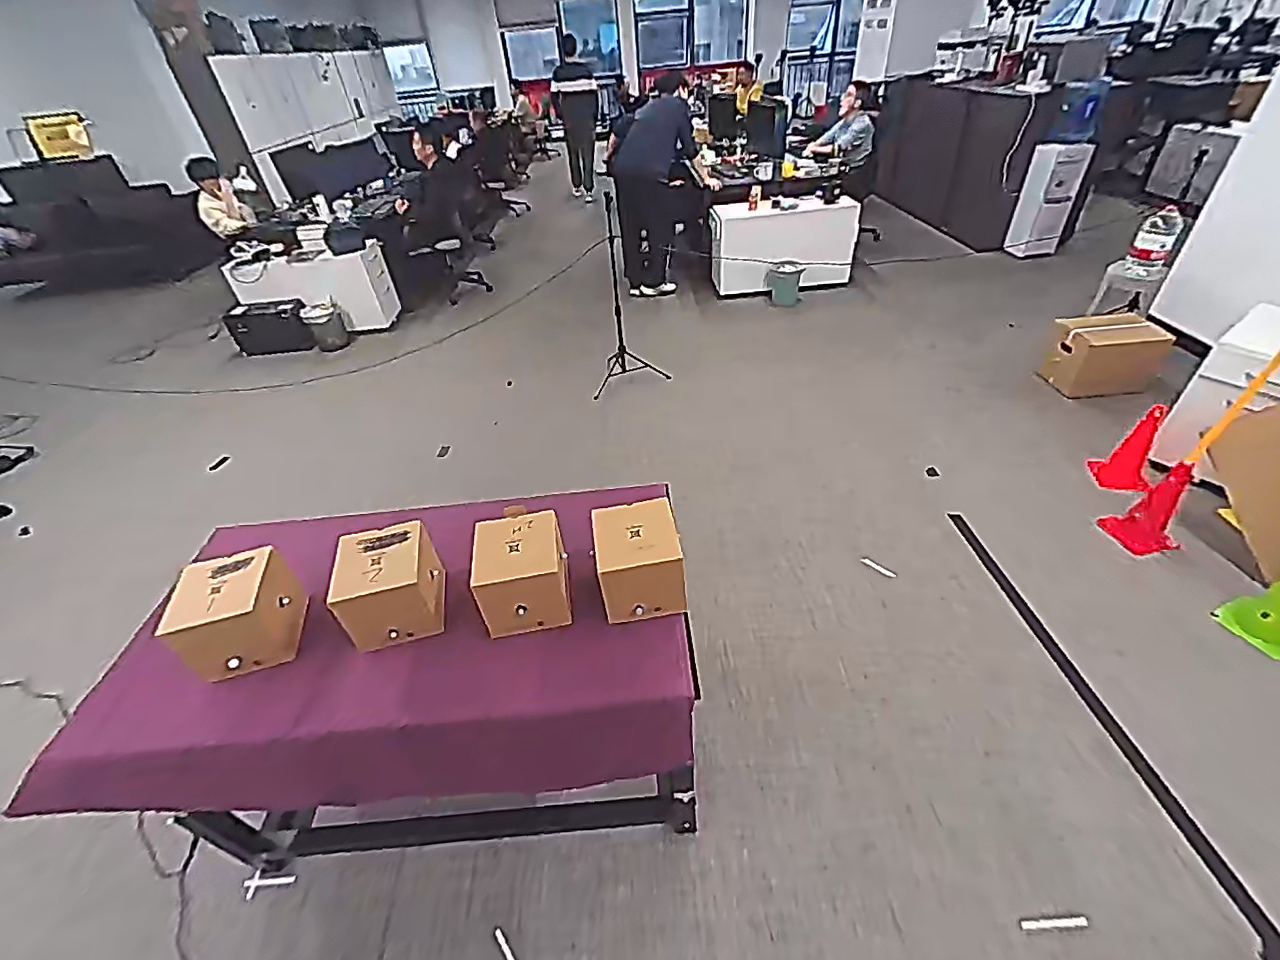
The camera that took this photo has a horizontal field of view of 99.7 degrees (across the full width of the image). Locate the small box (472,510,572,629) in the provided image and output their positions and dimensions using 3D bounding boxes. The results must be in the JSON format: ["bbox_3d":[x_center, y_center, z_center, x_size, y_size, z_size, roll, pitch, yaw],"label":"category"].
[{"bbox_3d":[-0.237,0.191,1.121,0.168,0.176,0.179,-9,39,-4],"label":"small box"}]

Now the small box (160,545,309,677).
[{"bbox_3d":[-0.806,0.266,1.100,0.168,0.176,0.179,-14,41,-10],"label":"small box"}]

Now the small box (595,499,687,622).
[{"bbox_3d":[0.001,0.166,1.122,0.168,0.176,0.179,-9,39,-2],"label":"small box"}]
